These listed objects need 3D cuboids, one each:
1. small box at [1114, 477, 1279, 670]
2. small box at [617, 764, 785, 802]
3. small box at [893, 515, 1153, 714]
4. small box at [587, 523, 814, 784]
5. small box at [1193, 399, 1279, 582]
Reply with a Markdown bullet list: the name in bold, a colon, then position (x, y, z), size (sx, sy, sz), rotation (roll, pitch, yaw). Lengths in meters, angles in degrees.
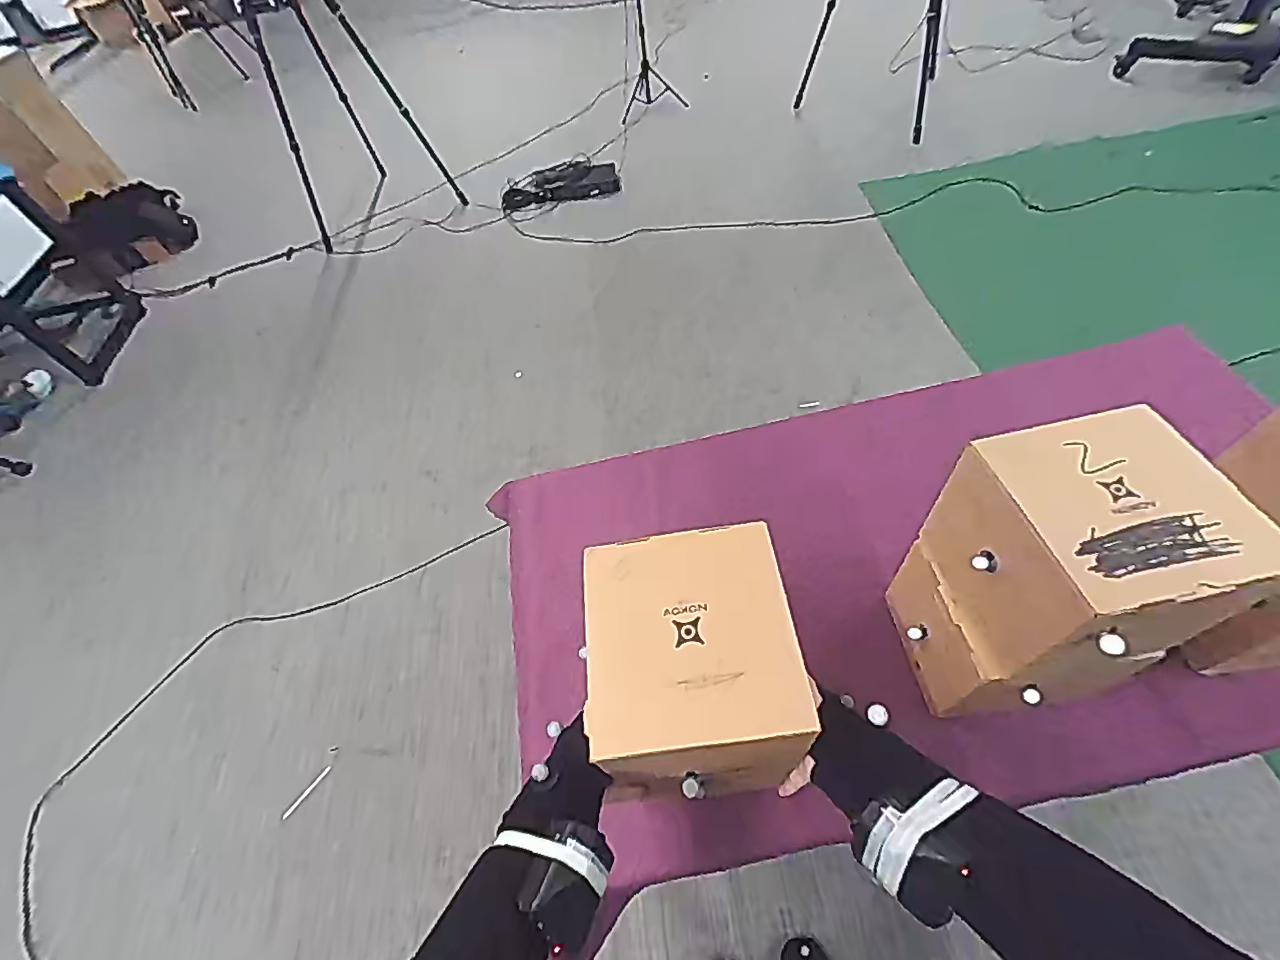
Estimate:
- **small box**: position (0.725, 0.104, 0.634), size (0.168, 0.176, 0.179), rotation (-8, 54, 4)
- **small box**: position (0.068, 0.262, 0.628), size (0.179, 0.176, 0.168), rotation (-9, 53, 2)
- **small box**: position (0.420, 0.165, 0.640), size (0.179, 0.176, 0.168), rotation (-9, 53, 3)
- **small box**: position (0.048, 0.164, 0.499), size (0.168, 0.176, 0.179), rotation (-9, 54, 4)
- **small box**: position (0.704, 0.008, 0.502), size (0.168, 0.176, 0.179), rotation (-9, 53, 2)
